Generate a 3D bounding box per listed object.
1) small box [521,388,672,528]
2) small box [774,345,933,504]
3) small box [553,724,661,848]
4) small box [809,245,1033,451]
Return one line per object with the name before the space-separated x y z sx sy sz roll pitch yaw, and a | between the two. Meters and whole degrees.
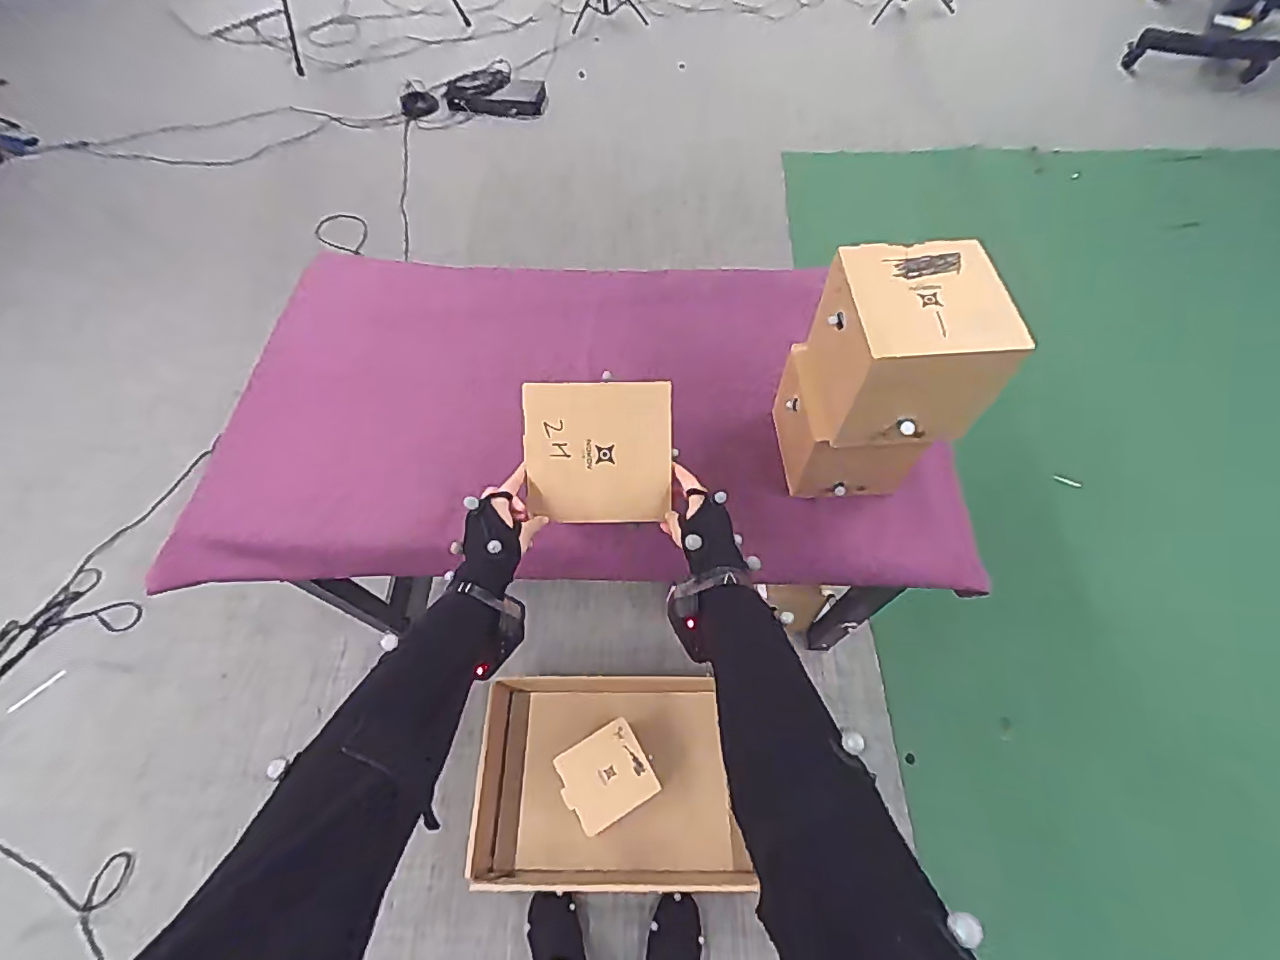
small box | -0.052 -0.033 0.708 0.179 0.176 0.168 -1 96 0
small box | 0.304 -0.081 0.801 0.168 0.176 0.179 -3 59 2
small box | -0.065 0.659 1.171 0.179 0.176 0.168 -27 63 -13
small box | 0.314 -0.155 0.654 0.168 0.176 0.179 -3 59 2
